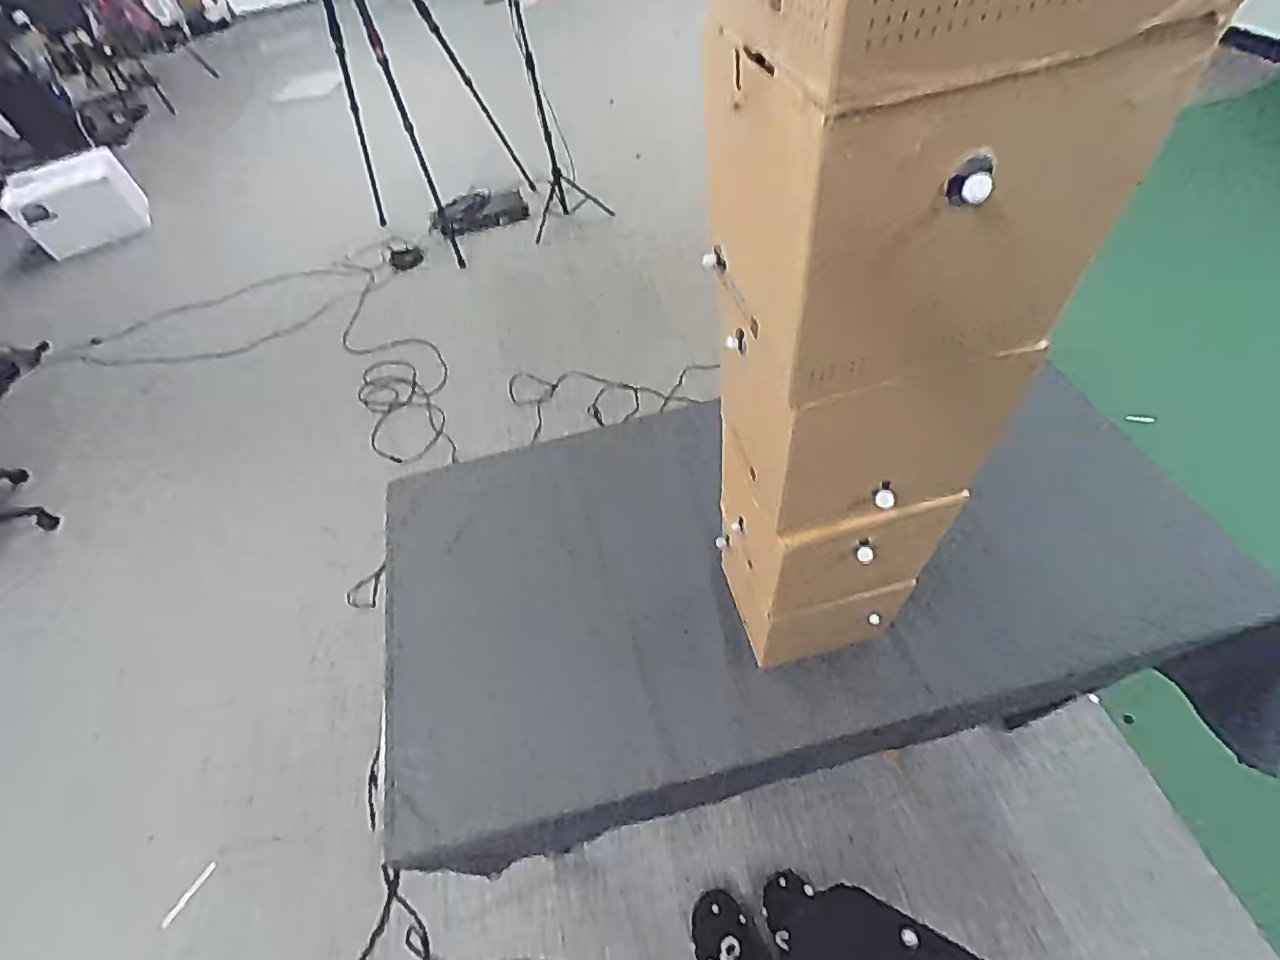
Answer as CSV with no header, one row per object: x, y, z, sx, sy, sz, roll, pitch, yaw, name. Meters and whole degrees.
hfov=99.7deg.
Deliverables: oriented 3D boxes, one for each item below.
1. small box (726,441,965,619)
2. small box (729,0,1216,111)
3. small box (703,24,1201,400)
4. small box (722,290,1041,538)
0.199,0.028,0.589,0.179,0.176,0.168,-15,52,-2,small box
0.130,-0.271,0.205,0.179,0.176,0.168,-13,53,0,small box
0.148,-0.173,0.335,0.179,0.176,0.168,-15,53,-2,small box
0.175,-0.073,0.463,0.179,0.176,0.168,-13,52,-2,small box
